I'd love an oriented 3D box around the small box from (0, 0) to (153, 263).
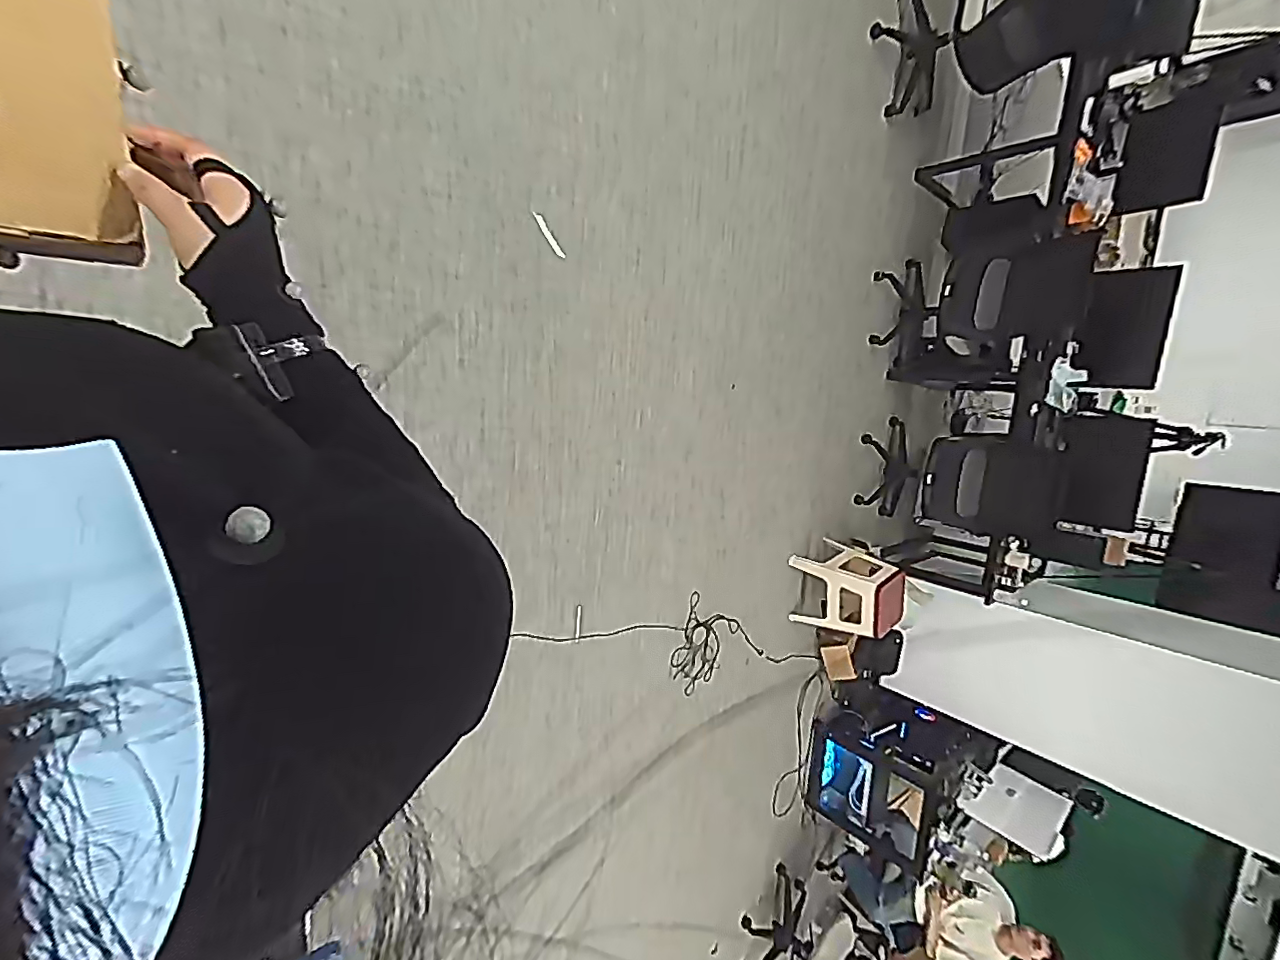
[{"bbox_3d":[-0.472,-0.265,0.387,0.168,0.176,0.179,-8,108,-42],"label":"small box"}]
